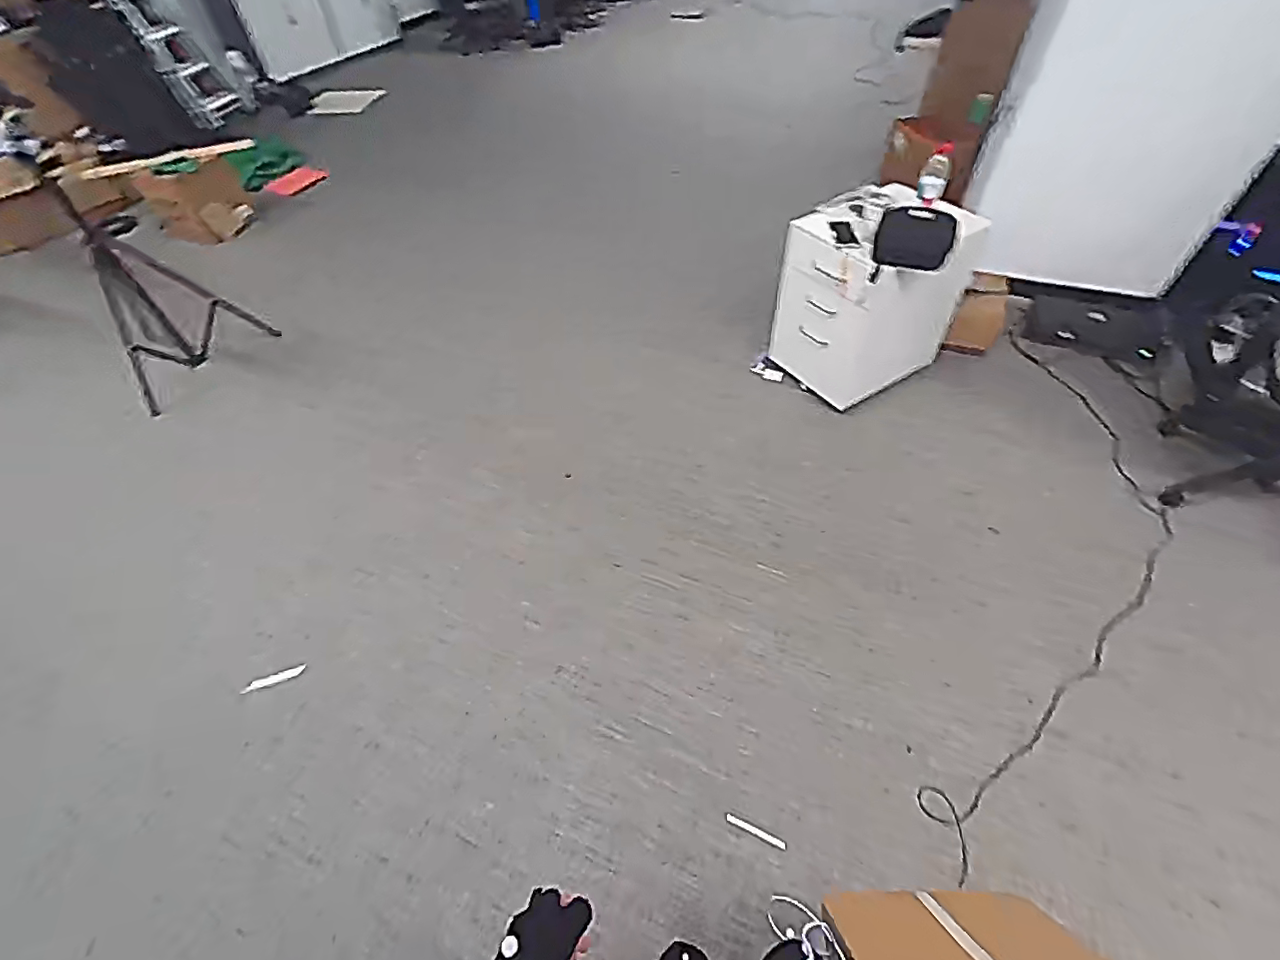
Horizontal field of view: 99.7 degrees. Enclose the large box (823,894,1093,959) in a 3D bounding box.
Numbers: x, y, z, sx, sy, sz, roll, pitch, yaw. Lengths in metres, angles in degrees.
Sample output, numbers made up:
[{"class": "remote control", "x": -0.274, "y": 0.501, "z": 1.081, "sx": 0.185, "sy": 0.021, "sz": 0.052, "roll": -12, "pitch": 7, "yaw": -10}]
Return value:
[{"class": "large box", "x": 0.432, "y": 0.755, "z": 0.625, "sx": 0.320, "sy": 0.408, "sz": 0.320, "roll": -3, "pitch": 75, "yaw": 3}]
